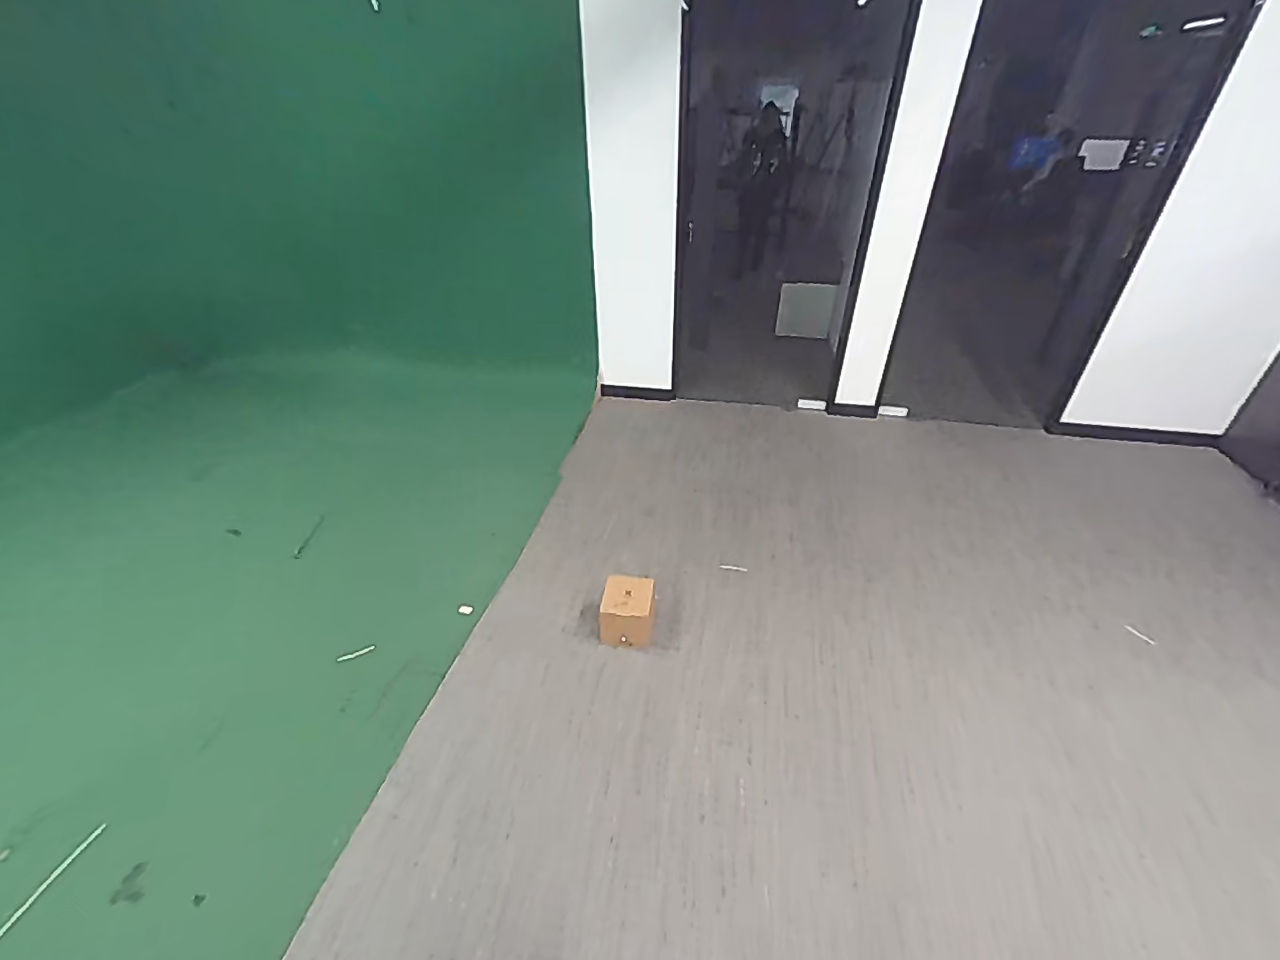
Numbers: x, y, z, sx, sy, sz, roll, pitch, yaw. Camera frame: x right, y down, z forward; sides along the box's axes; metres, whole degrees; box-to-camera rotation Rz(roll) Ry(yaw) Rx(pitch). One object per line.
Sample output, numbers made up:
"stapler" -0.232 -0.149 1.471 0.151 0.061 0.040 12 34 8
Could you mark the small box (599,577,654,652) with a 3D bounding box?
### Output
"small box" -0.043 0.464 1.868 0.168 0.176 0.179 4 34 7
